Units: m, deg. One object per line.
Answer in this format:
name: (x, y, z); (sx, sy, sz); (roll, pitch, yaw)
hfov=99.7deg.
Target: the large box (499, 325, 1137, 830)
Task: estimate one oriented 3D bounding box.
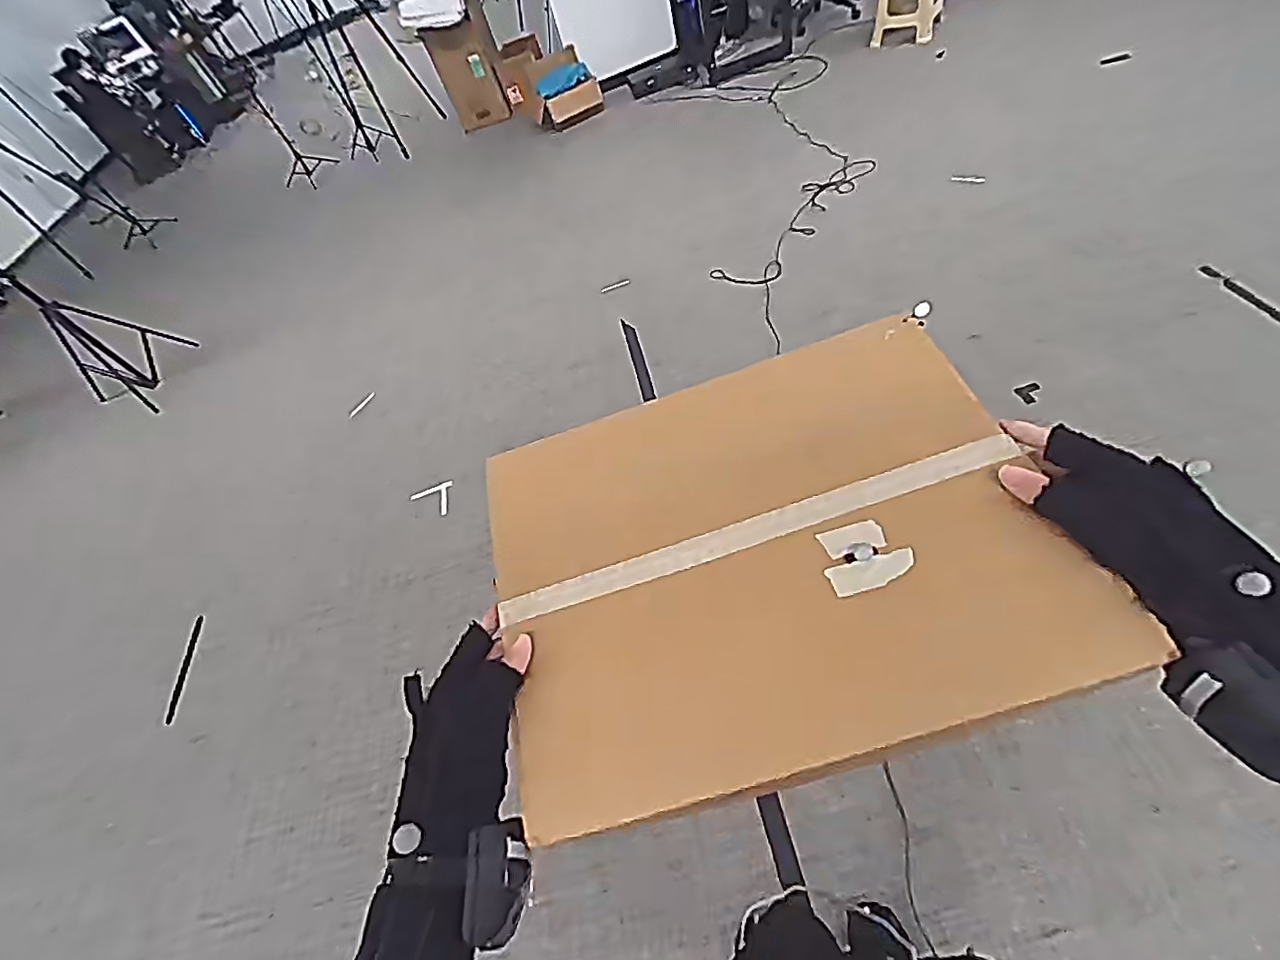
large box: (0.120, 0.118, 0.549); (0.408, 0.320, 0.320); (-19, 58, 4)
